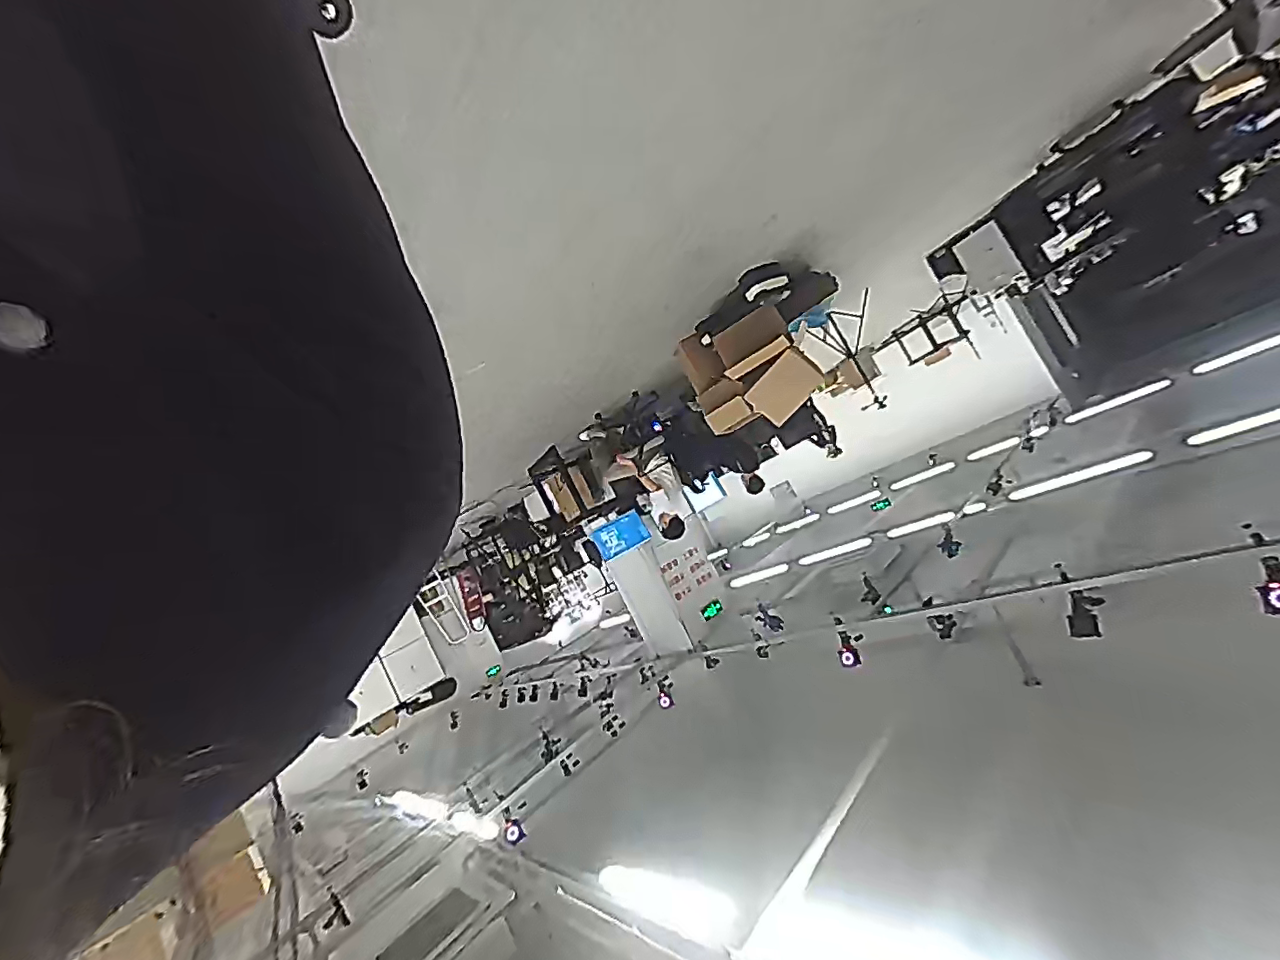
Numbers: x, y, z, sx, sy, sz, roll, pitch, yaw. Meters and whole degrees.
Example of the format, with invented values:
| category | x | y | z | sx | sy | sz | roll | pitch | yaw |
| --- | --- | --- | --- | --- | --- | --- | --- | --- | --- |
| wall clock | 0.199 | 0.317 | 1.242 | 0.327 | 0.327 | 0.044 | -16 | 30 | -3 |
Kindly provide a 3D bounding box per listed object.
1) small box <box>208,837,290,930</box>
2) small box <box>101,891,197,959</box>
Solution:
| category | x | y | z | sx | sy | sz | roll | pitch | yaw |
| --- | --- | --- | --- | --- | --- | --- | --- | --- | --- |
| small box | -1.331 | 1.365 | 1.844 | 0.168 | 0.176 | 0.179 | -26 | 172 | -30 |
| small box | -1.542 | 1.448 | 1.701 | 0.168 | 0.176 | 0.179 | -24 | 171 | -35 |
